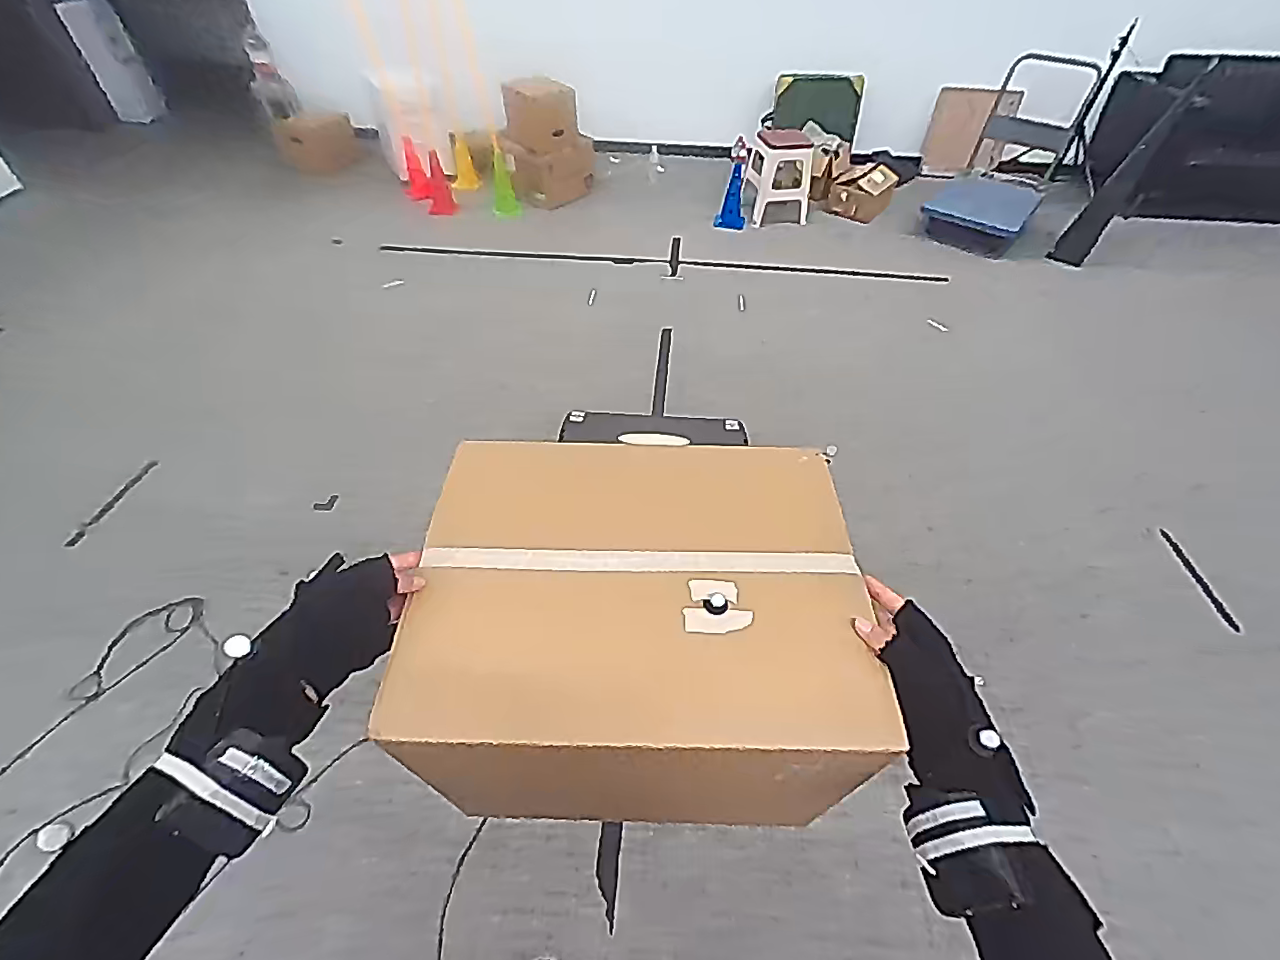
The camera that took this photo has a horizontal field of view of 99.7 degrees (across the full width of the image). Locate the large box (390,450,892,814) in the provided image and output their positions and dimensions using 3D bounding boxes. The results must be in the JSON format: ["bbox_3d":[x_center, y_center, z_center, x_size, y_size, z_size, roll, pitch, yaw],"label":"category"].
[{"bbox_3d":[-0.002,0.182,0.629,0.408,0.320,0.320,2,49,0],"label":"large box"}]

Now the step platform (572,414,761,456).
[{"bbox_3d":[0.091,-0.070,1.970,0.684,0.204,0.286,4,47,0],"label":"step platform"}]
